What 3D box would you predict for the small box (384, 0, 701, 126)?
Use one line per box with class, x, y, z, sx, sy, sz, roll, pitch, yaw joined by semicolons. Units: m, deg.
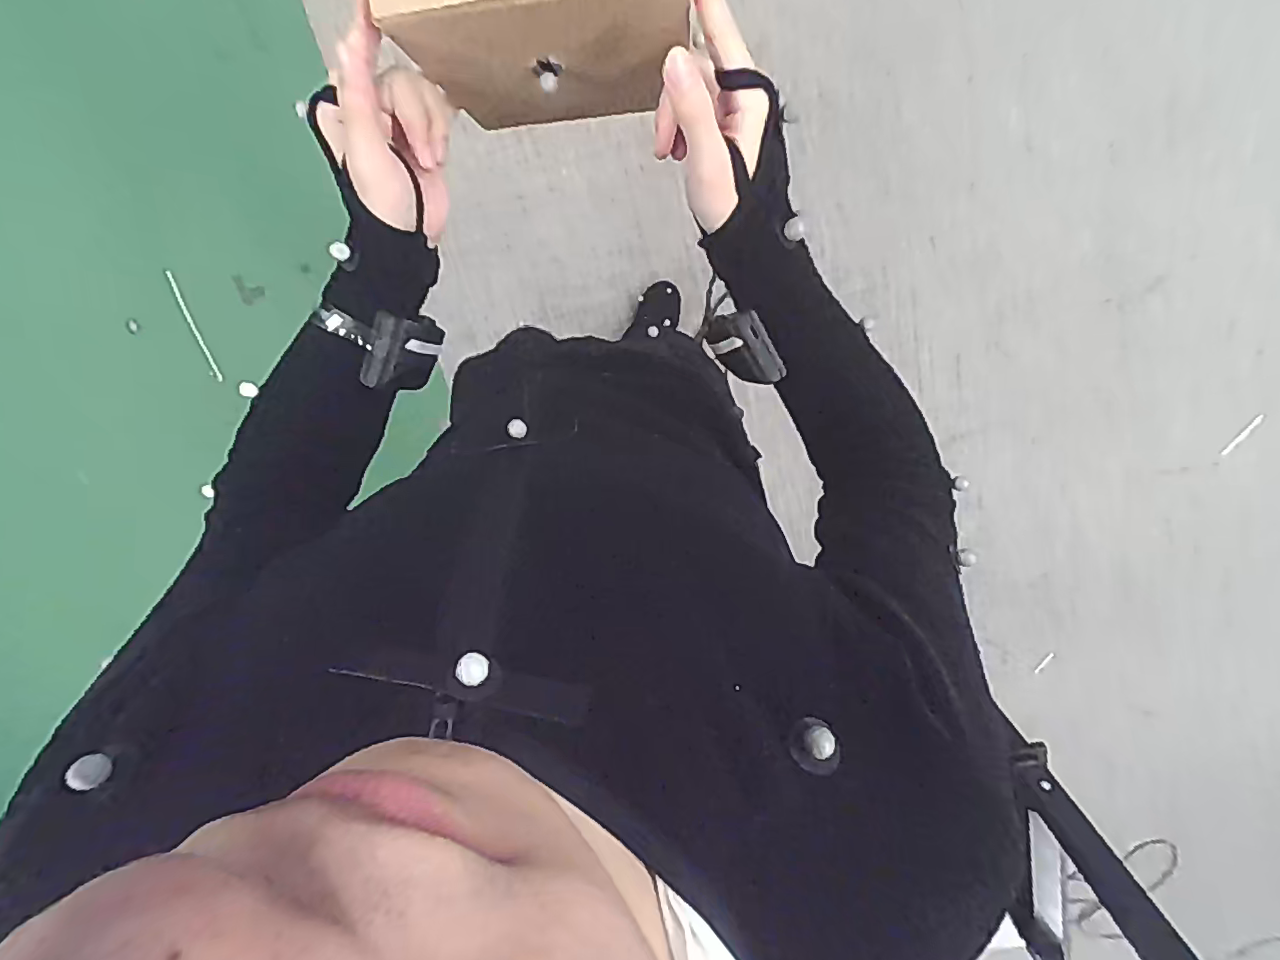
small box;-0.052;-0.356;0.346;0.179;0.176;0.168;-3;104;7
